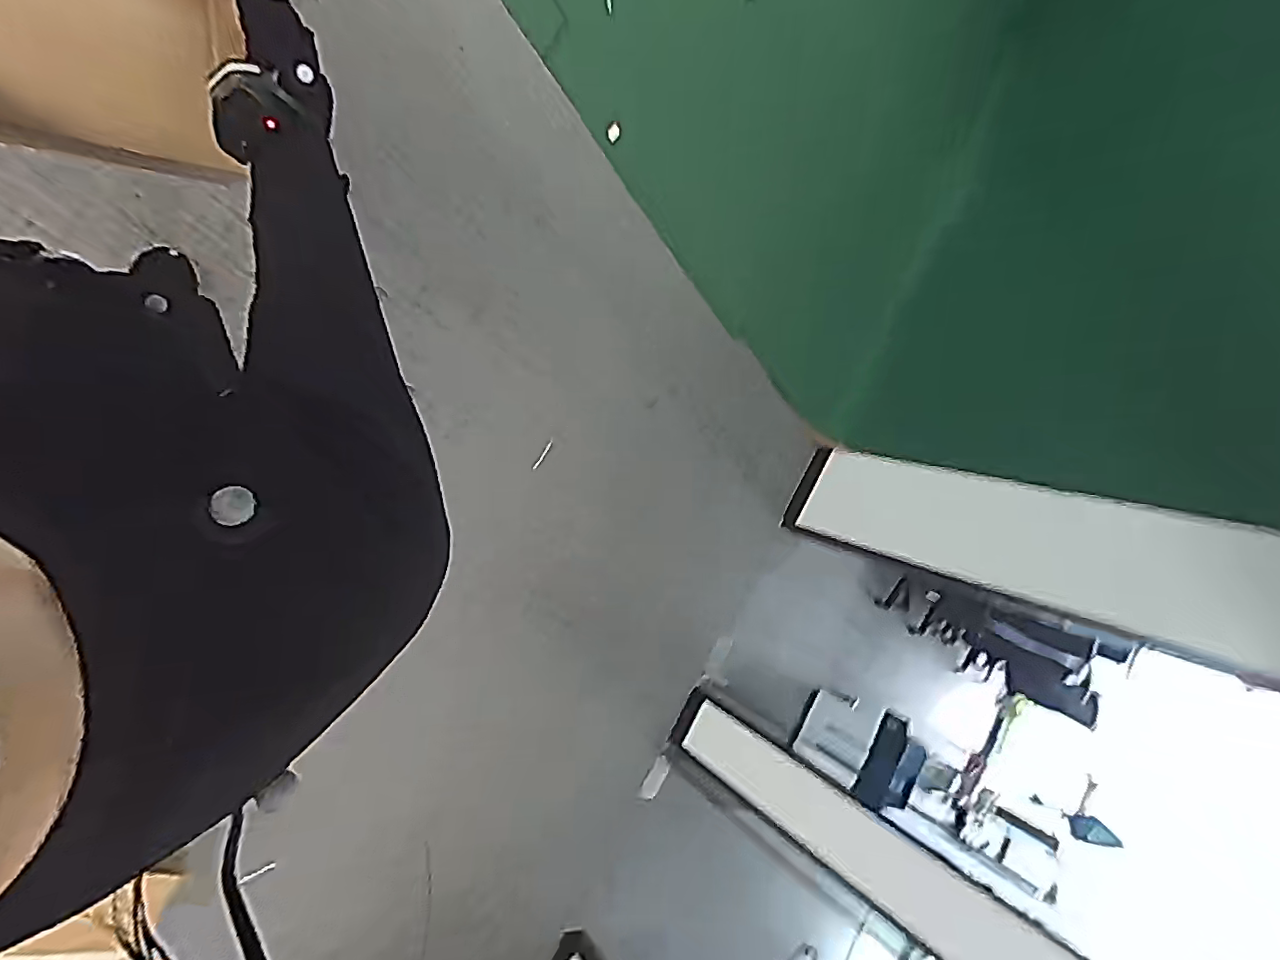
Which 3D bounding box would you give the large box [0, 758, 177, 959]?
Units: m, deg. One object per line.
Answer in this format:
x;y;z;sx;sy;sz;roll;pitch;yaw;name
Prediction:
-1.227;0.783;1.043;0.408;0.320;0.320;43;75;-42;large box
